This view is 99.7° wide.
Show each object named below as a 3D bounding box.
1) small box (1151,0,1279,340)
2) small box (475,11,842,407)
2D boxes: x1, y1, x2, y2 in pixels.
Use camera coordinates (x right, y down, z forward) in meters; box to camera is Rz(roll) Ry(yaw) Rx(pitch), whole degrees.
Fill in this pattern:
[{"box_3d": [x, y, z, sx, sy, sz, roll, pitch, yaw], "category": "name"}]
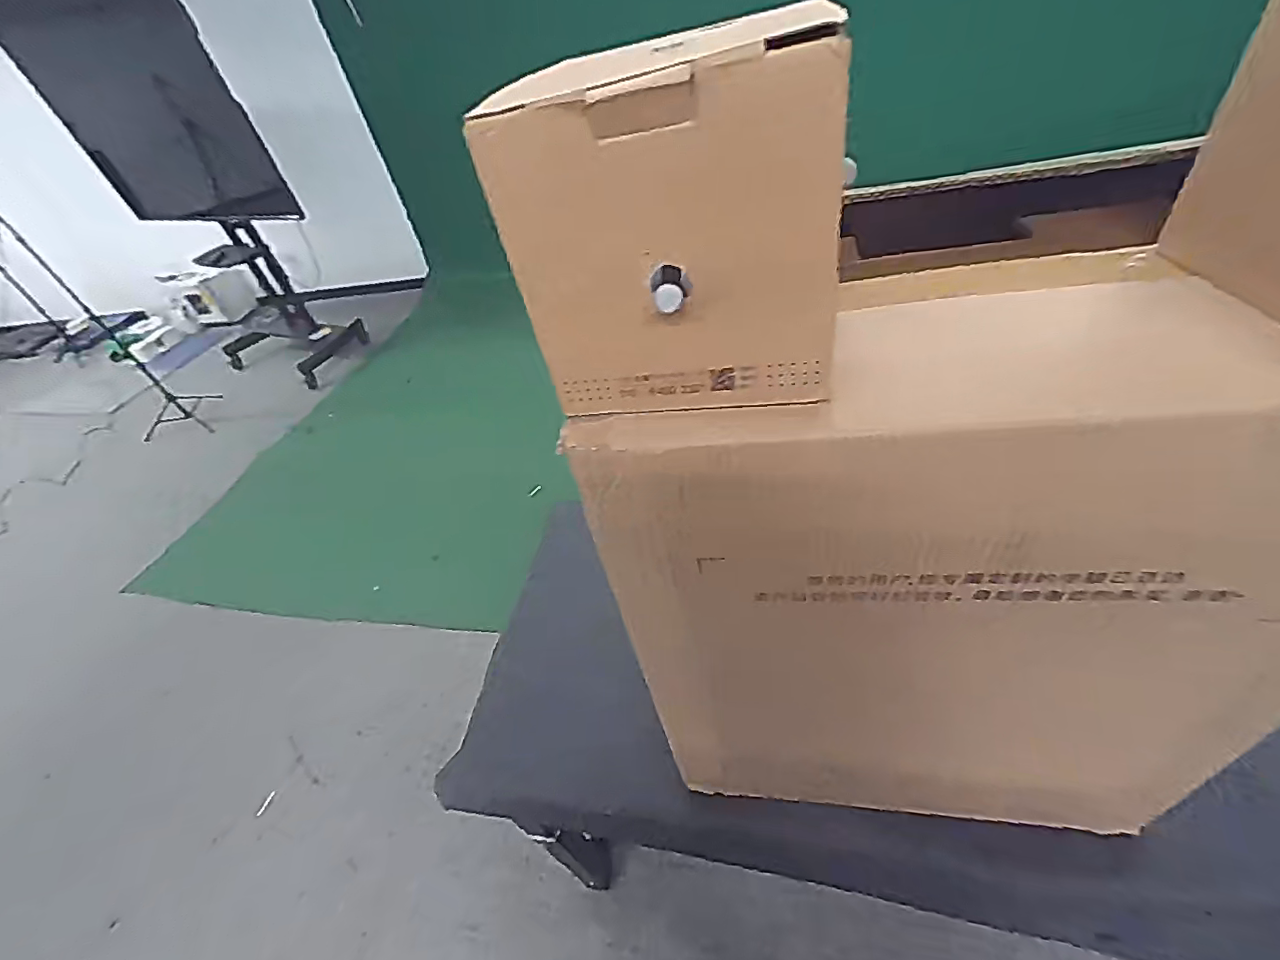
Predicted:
[{"box_3d": [0.403, -0.155, 0.239, 0.168, 0.176, 0.179, -5, 42, 6], "category": "small box"}, {"box_3d": [0.031, -0.157, 0.338, 0.168, 0.176, 0.179, -1, 44, 14], "category": "small box"}]
